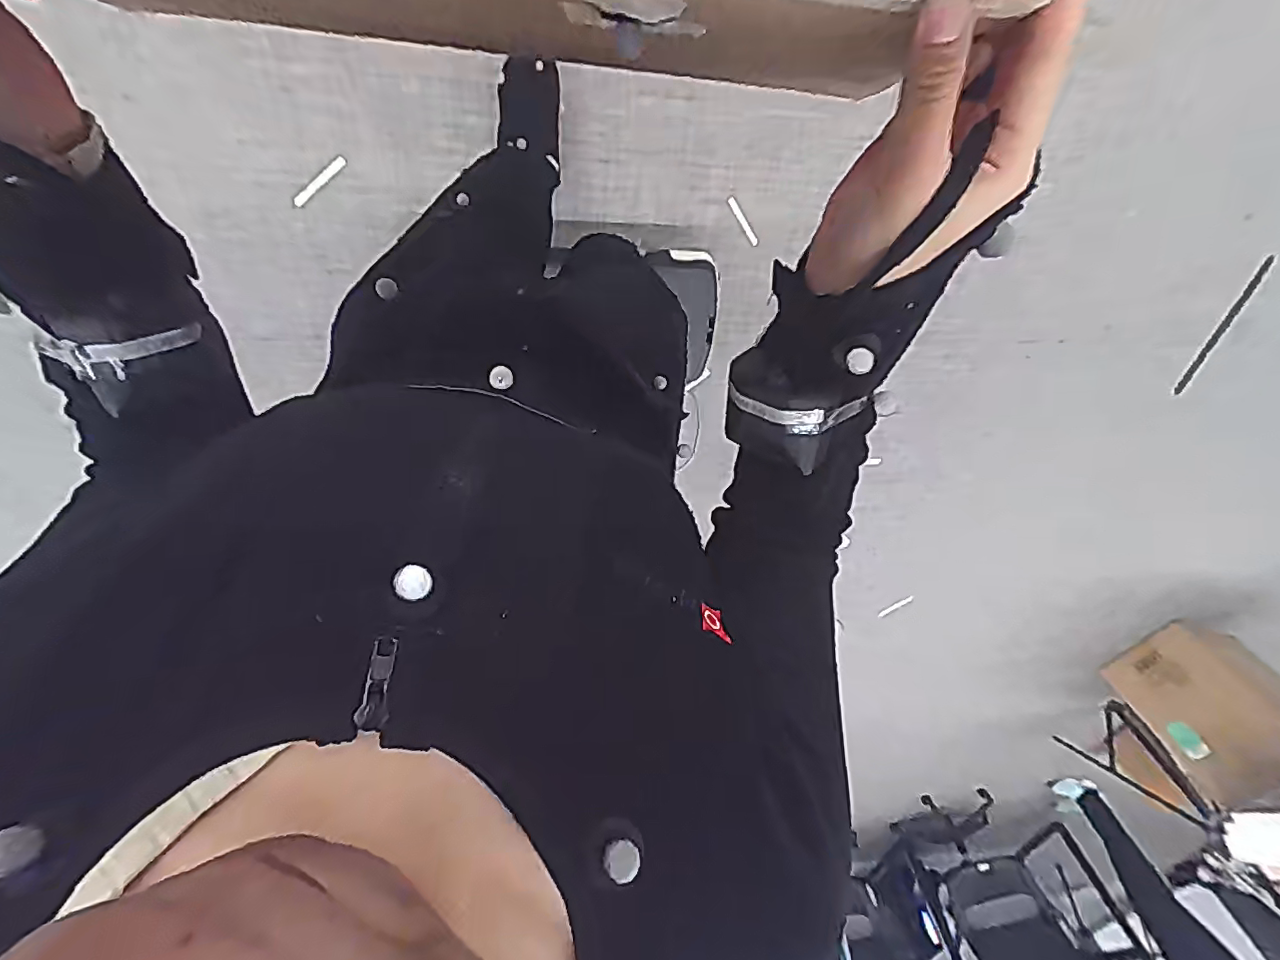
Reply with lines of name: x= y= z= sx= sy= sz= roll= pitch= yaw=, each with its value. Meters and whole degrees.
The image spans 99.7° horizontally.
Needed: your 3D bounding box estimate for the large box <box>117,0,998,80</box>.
large box: x=-0.058 y=-0.315 z=0.101 sx=0.408 sy=0.320 sz=0.320 roll=3 pitch=116 yaw=-4
